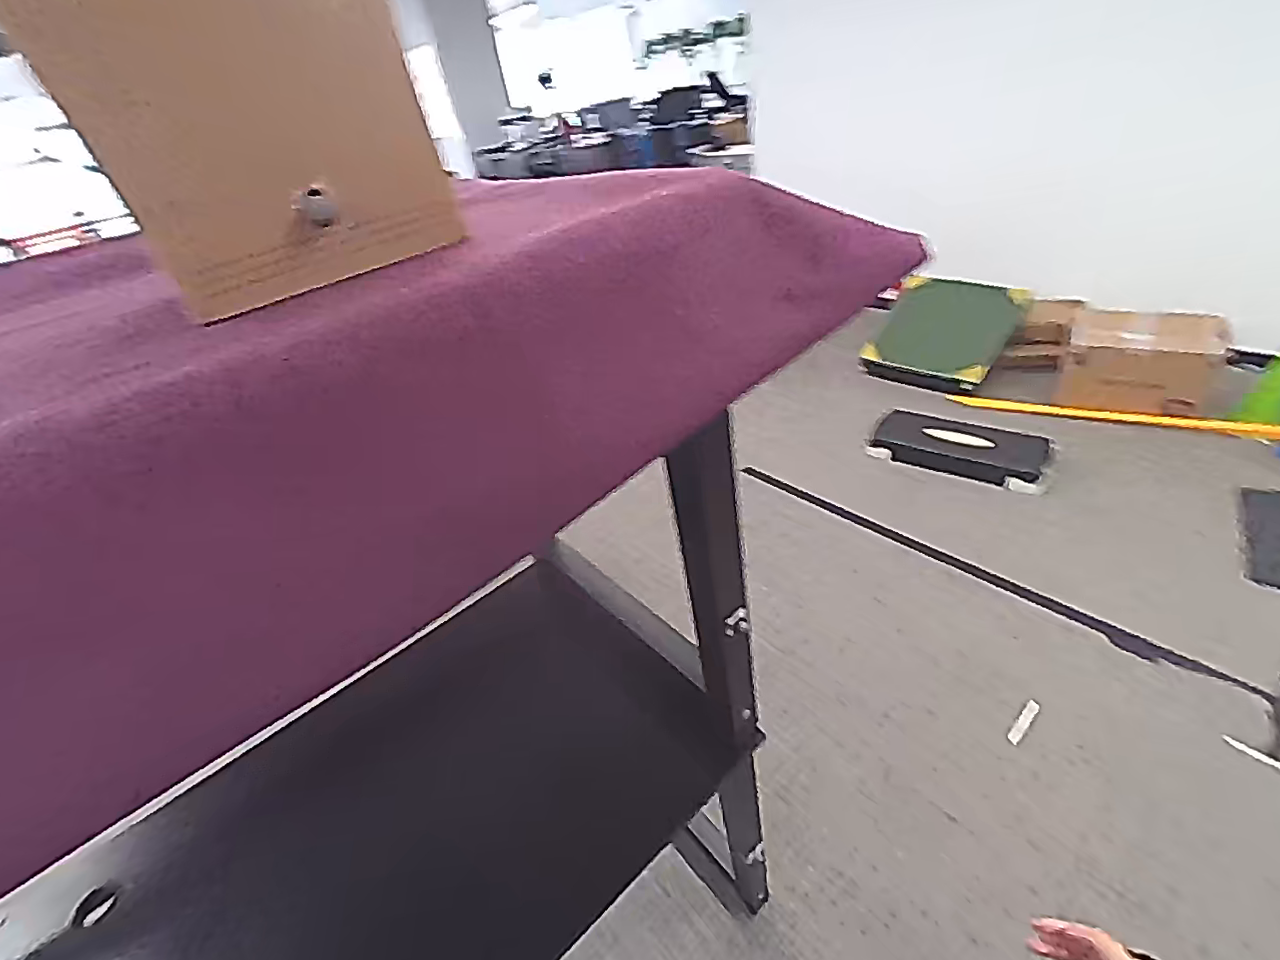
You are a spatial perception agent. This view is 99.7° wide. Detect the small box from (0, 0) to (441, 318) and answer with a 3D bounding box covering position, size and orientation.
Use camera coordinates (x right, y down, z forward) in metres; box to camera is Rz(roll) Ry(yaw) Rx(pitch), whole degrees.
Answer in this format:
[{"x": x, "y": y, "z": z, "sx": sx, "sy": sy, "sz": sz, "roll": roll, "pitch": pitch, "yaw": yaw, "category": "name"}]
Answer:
[{"x": -0.252, "y": -0.223, "z": 0.348, "sx": 0.179, "sy": 0.176, "sz": 0.168, "roll": -33, "pitch": 40, "yaw": -27, "category": "small box"}]
